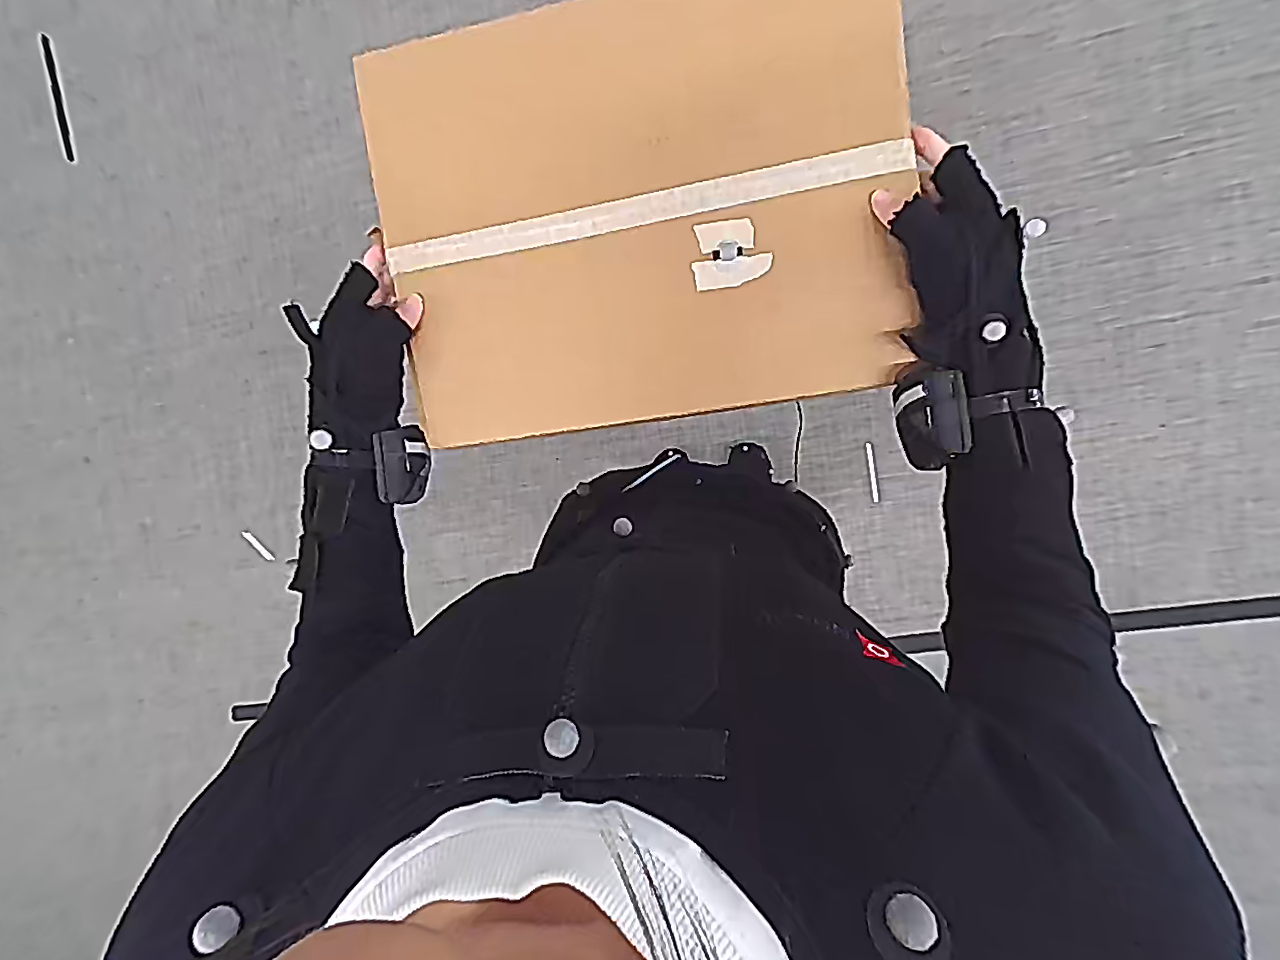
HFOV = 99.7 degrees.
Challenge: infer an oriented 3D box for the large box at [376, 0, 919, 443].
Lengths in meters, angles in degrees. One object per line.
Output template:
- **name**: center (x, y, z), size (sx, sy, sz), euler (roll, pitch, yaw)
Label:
- **large box**: center (0.016, -0.227, 0.574), size (0.408, 0.320, 0.320), euler (-7, 97, 8)
